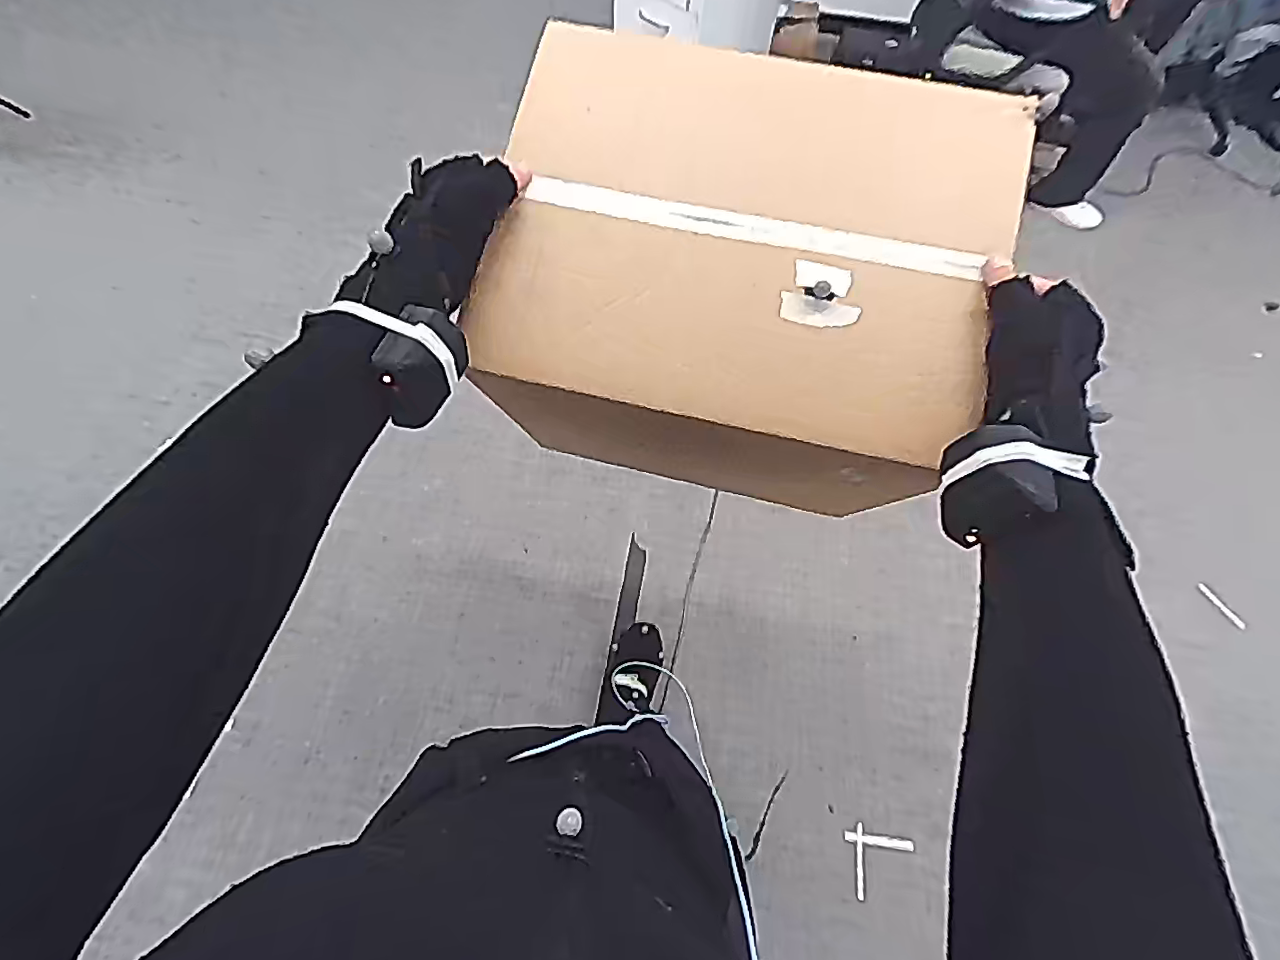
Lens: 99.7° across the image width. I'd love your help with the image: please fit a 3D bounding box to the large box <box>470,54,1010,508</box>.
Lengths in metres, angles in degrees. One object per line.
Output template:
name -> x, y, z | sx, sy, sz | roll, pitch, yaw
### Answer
large box -> 0.090, -0.172, 0.592 | 0.408, 0.320, 0.320 | 13, 83, 5
